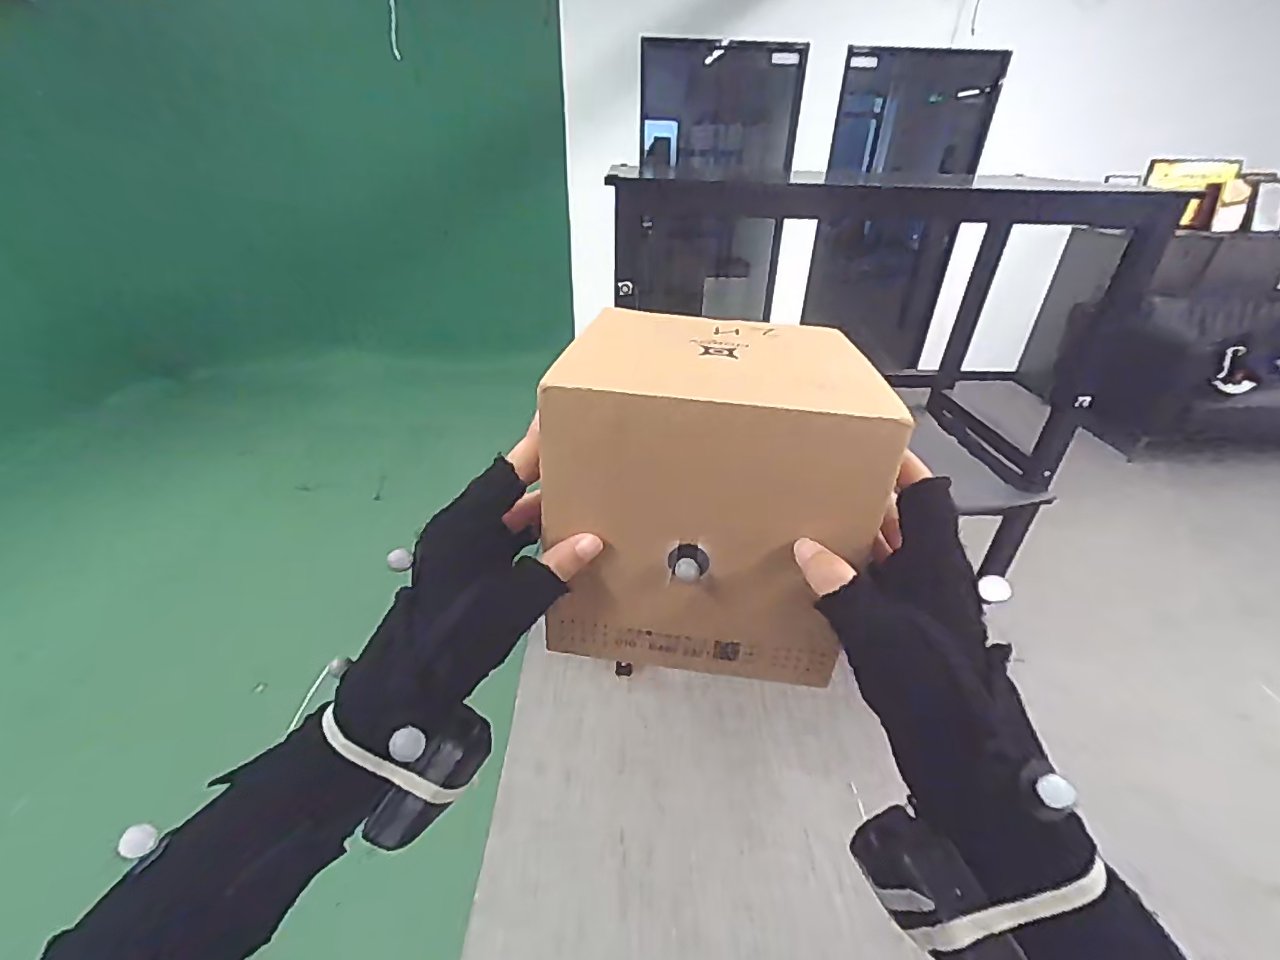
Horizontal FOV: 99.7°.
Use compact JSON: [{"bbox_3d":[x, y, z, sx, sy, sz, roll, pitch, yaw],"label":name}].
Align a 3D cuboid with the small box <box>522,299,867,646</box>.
[{"bbox_3d":[0.031,-0.016,0.361,0.168,0.176,0.179,7,28,5],"label":"small box"}]
